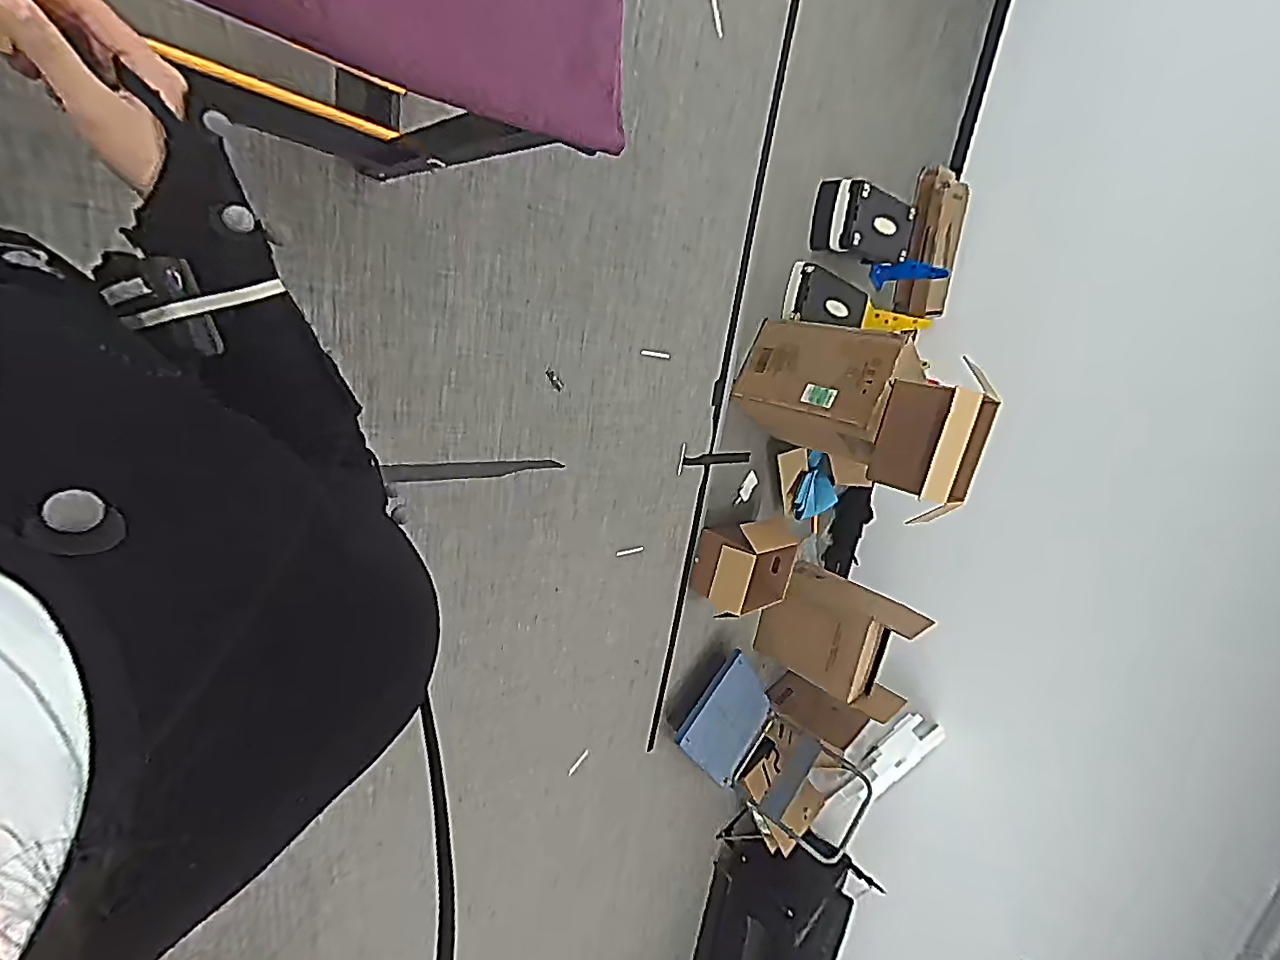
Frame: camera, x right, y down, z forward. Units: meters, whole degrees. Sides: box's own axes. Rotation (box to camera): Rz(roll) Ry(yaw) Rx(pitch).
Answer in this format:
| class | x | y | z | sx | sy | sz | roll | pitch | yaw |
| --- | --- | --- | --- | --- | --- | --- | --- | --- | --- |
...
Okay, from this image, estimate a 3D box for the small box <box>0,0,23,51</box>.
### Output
| class | x | y | z | sx | sy | sz | roll | pitch | yaw |
| --- | --- | --- | --- | --- | --- | --- | --- | --- | --- |
| small box | -0.401 | -0.320 | 0.226 | 0.179 | 0.176 | 0.168 | -6 | 124 | -46 |
